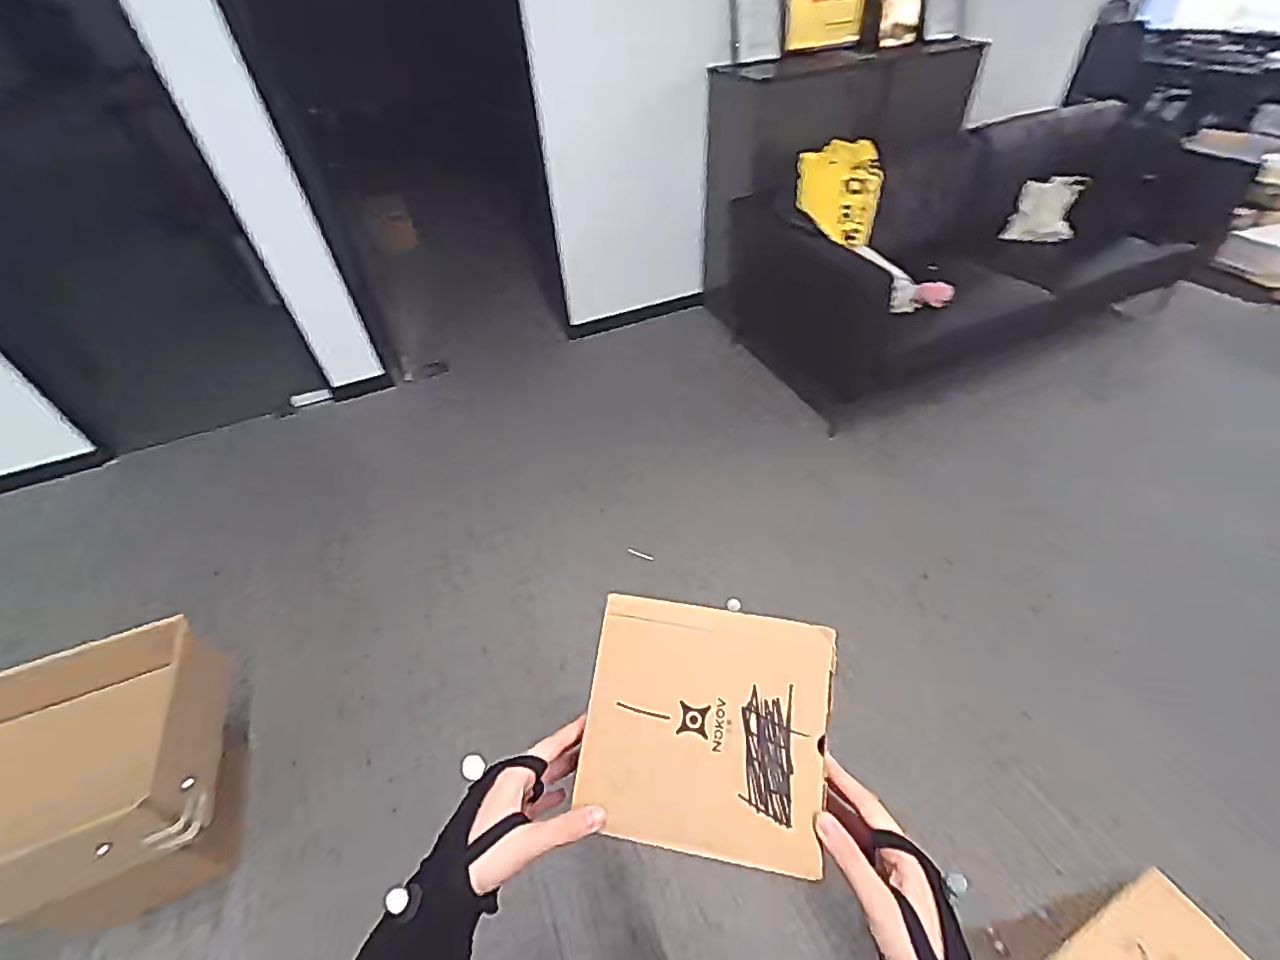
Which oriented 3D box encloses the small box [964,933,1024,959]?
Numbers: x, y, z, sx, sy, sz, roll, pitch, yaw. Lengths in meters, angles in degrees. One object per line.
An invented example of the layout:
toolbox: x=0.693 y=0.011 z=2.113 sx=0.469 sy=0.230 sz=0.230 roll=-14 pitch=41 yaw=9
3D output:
small box: x=0.543 y=0.769 z=0.749 sx=0.168 sy=0.176 sz=0.179 roll=-21 pitch=47 yaw=-16

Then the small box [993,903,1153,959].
small box: x=0.526 y=0.650 z=0.640 sx=0.179 sy=0.176 sz=0.168 roll=-22 pitch=46 yaw=-15

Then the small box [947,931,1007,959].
small box: x=0.565 y=0.879 z=0.869 sx=0.168 sy=0.176 sz=0.179 roll=-20 pitch=46 yaw=-14
